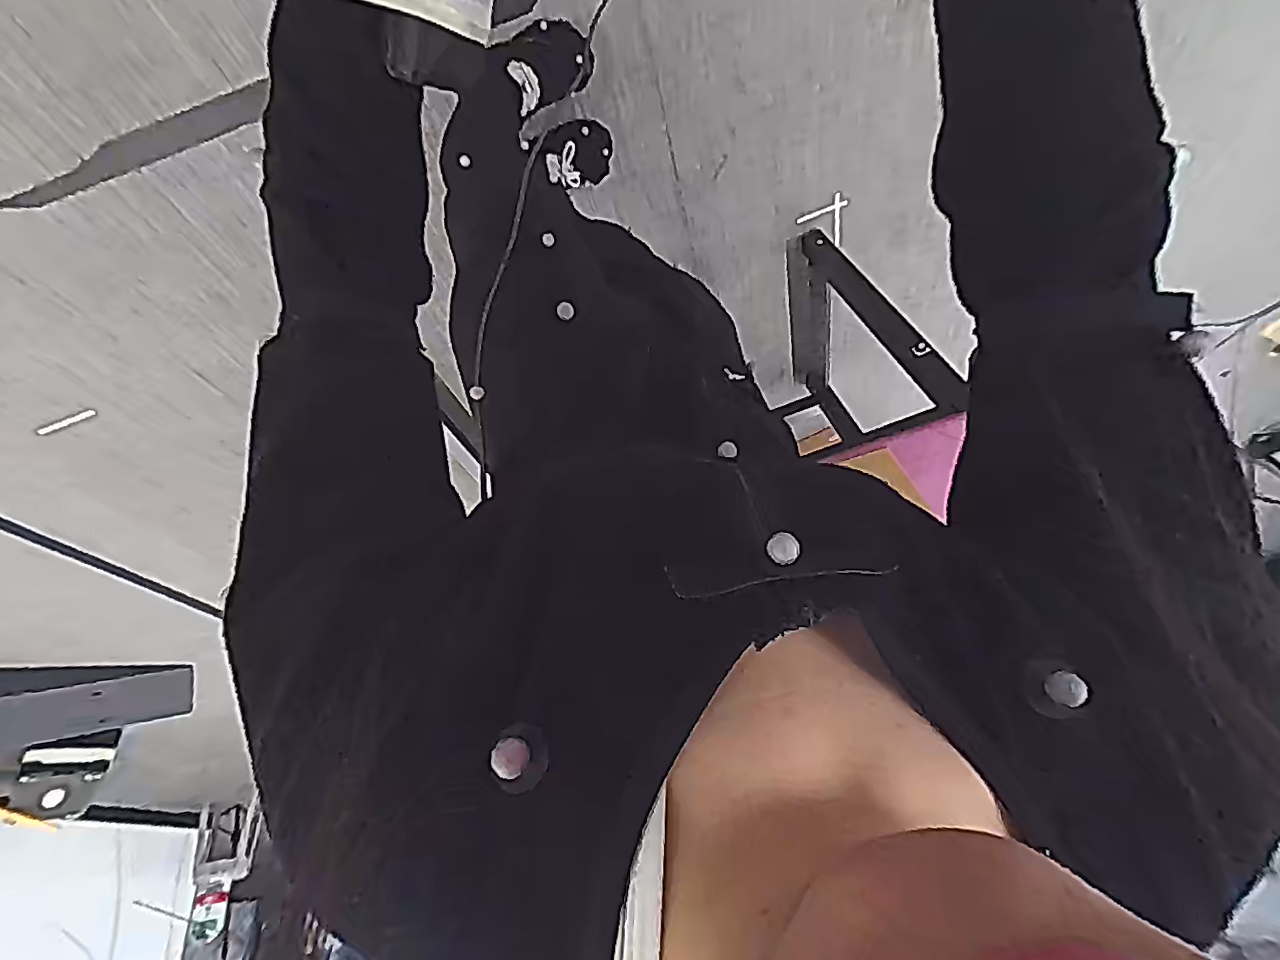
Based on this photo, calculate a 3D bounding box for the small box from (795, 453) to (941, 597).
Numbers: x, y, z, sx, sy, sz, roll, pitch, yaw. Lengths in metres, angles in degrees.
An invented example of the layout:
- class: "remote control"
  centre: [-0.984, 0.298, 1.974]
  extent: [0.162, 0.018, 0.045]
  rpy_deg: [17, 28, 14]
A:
- class: "small box"
  centre: [0.393, 0.080, 0.971]
  extent: [0.179, 0.176, 0.168]
  rpy_deg: [-18, 142, 0]
